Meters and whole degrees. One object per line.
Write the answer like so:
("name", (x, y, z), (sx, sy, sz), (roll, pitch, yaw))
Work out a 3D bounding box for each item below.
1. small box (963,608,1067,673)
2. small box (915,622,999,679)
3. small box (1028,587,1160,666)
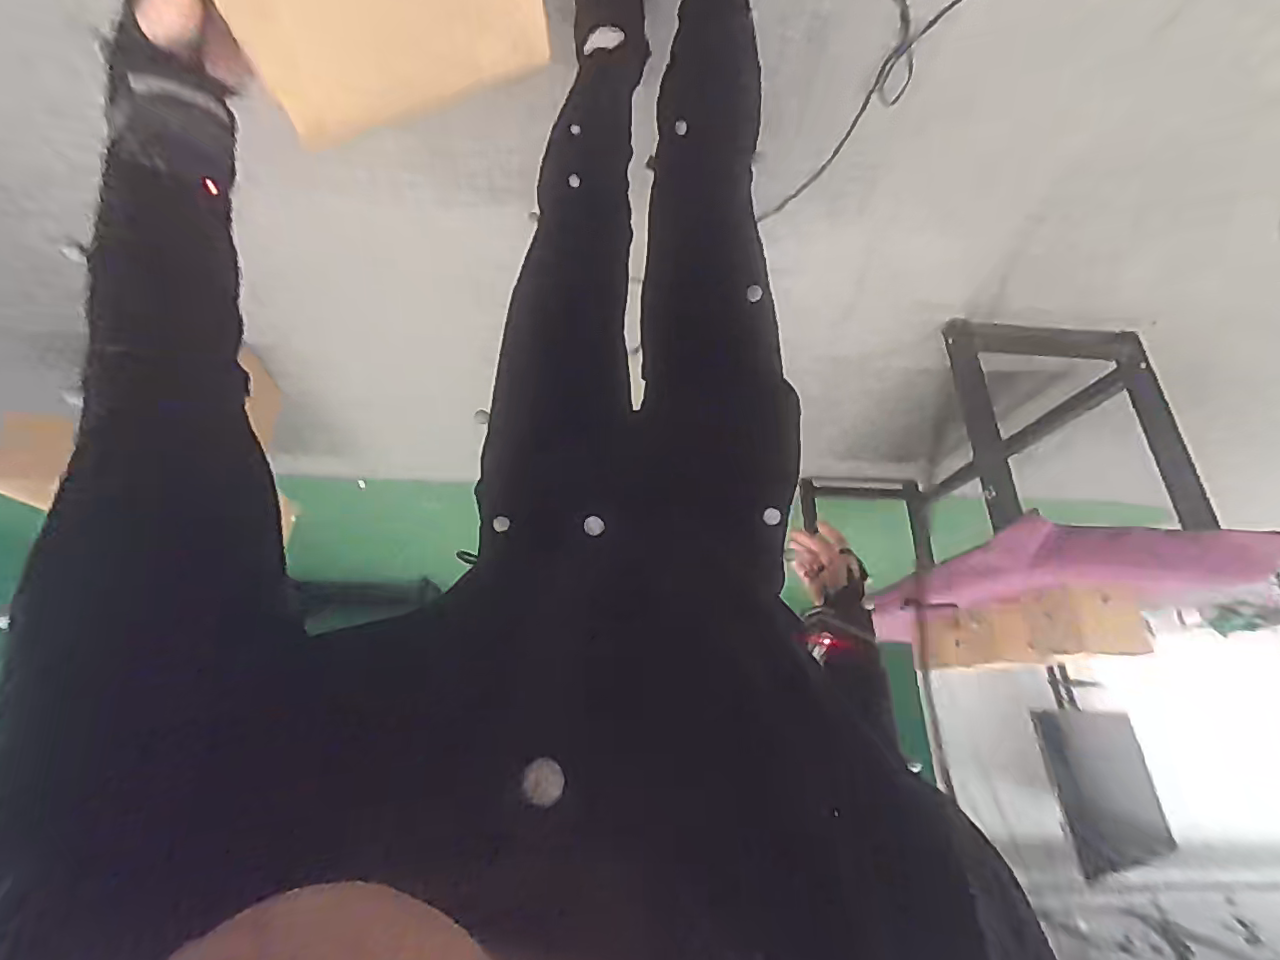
("small box", (1.105, 0.479, 1.608), (0.179, 0.176, 0.168), (2, 156, -1))
("small box", (1.071, 0.582, 1.844), (0.168, 0.176, 0.179), (5, 156, -8))
("small box", (1.131, 0.370, 1.364), (0.179, 0.176, 0.168), (4, 156, -5))
